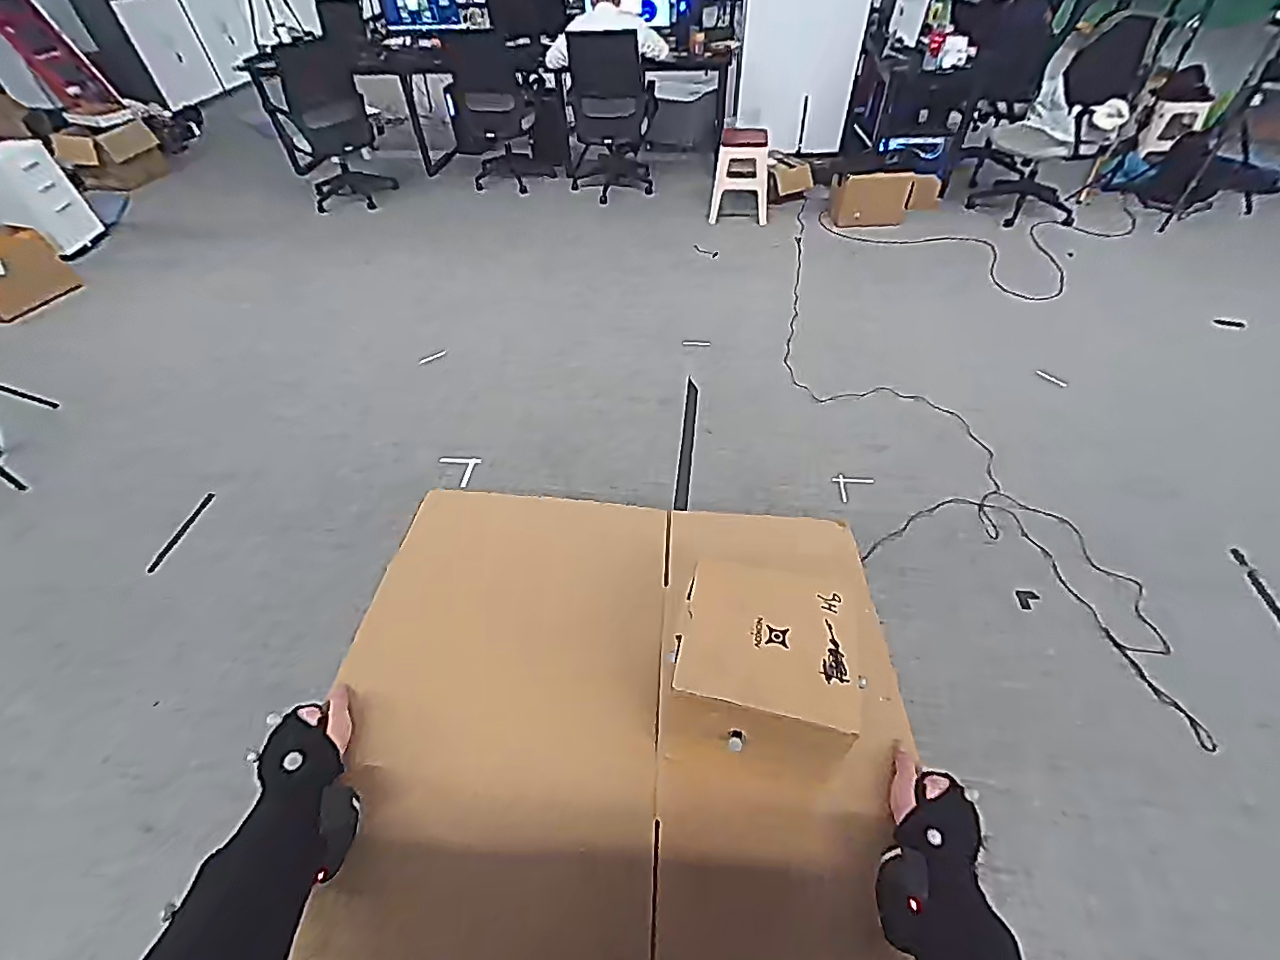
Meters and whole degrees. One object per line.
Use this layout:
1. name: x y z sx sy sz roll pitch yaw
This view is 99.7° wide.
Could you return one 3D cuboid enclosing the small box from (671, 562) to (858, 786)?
1. small box: 0.134 0.220 0.614 0.179 0.176 0.168 9 44 10
